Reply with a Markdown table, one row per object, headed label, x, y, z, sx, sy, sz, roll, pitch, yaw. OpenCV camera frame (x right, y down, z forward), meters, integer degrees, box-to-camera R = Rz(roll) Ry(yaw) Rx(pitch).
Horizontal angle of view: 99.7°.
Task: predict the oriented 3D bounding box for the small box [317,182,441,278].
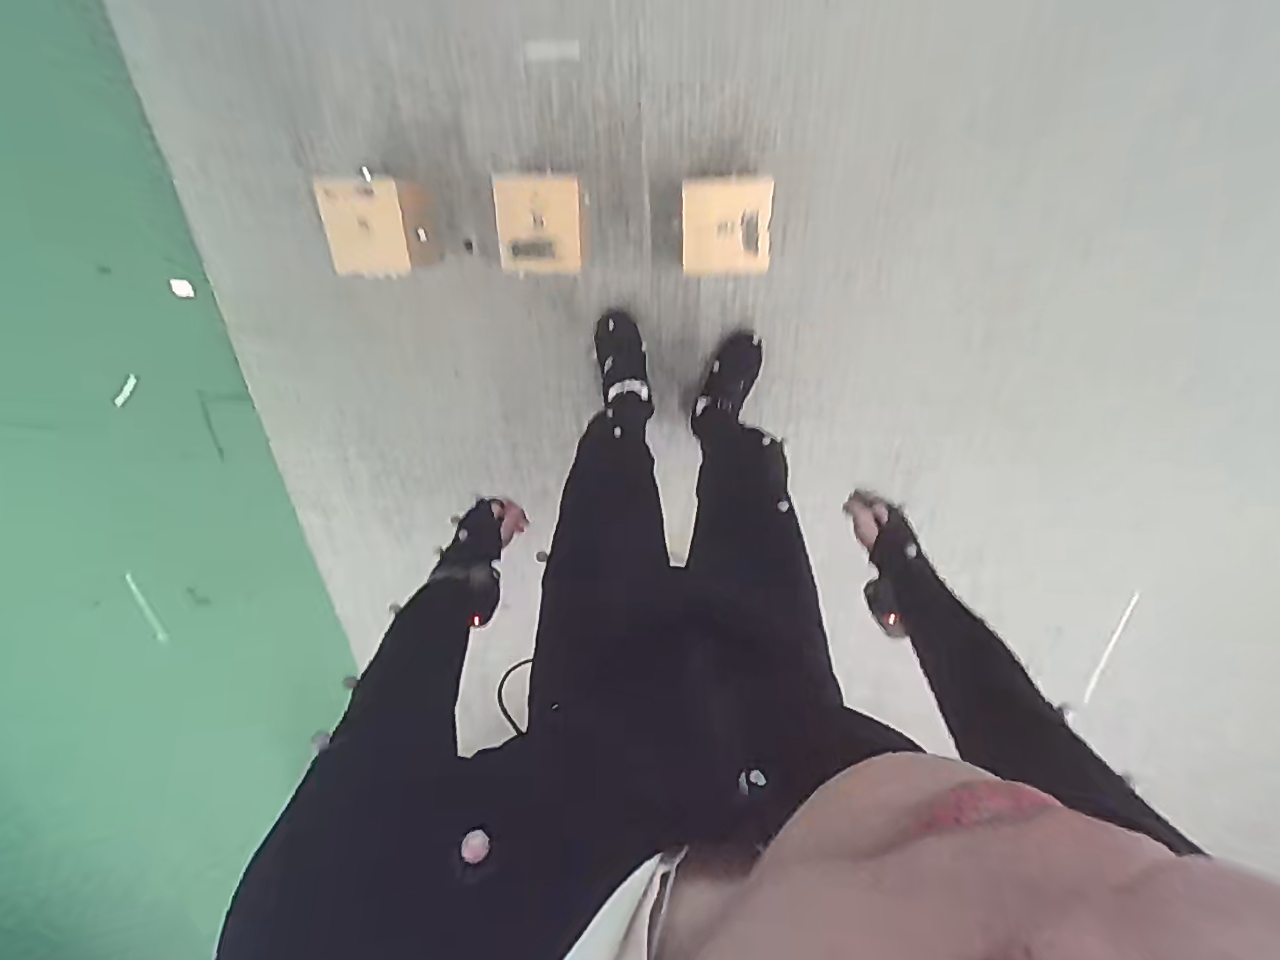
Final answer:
| label | x | y | z | sx | sy | sz | roll | pitch | yaw |
| --- | --- | --- | --- | --- | --- | --- | --- | --- | --- |
| small box | -0.542 | -0.536 | 1.153 | 0.168 | 0.176 | 0.179 | 1 | 118 | 2 |

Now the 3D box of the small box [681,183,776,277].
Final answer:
| label | x | y | z | sx | sy | sz | roll | pitch | yaw |
| --- | --- | --- | --- | --- | --- | --- | --- | --- | --- |
| small box | 0.174 | -0.521 | 1.121 | 0.179 | 0.176 | 0.168 | -1 | 117 | 4 |
